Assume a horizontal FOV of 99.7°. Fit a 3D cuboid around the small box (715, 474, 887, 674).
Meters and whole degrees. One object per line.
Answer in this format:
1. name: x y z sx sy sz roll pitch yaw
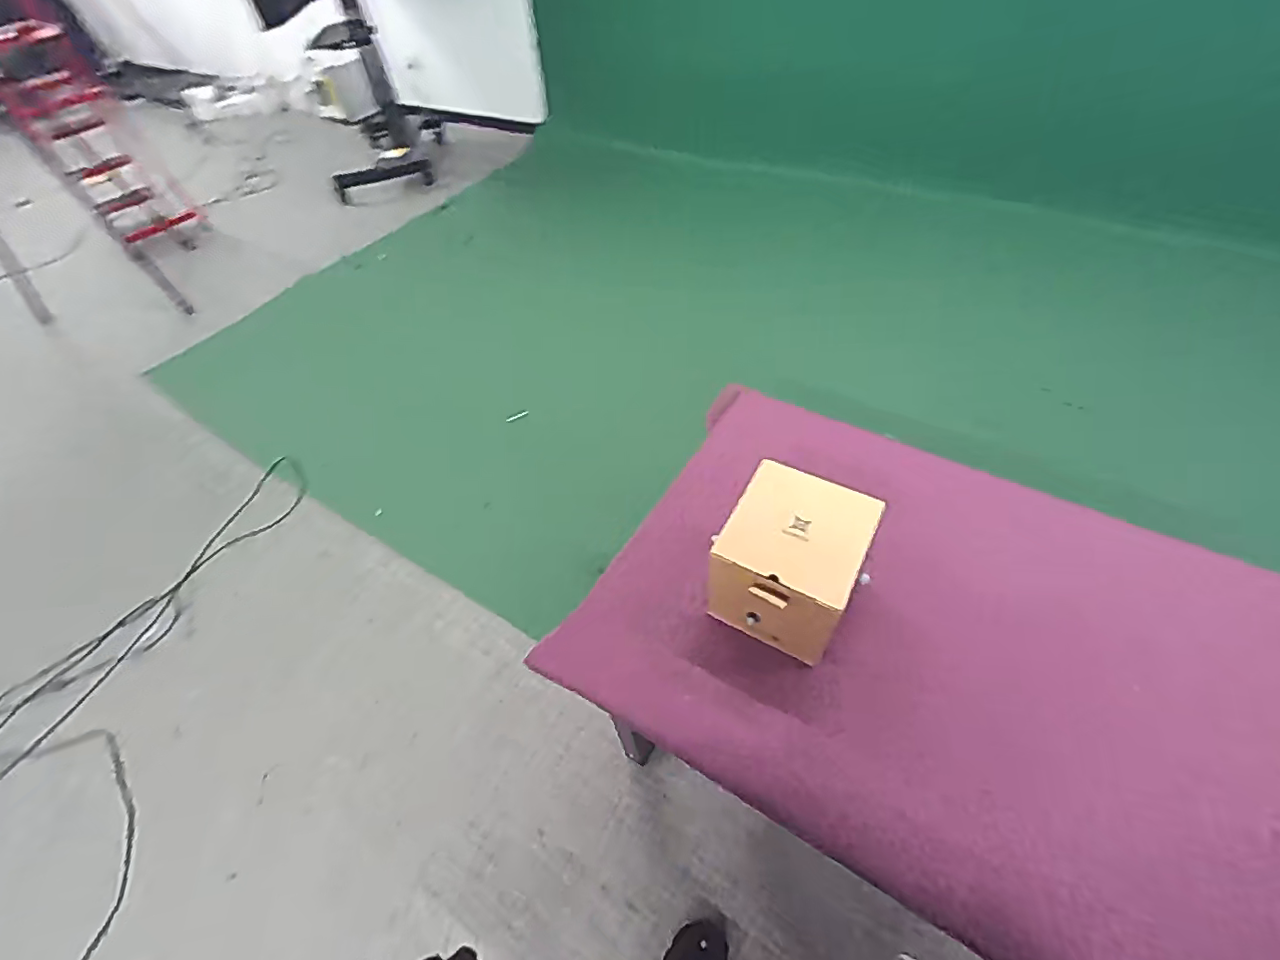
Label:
1. small box: 0.208 0.129 0.739 0.168 0.176 0.179 23 57 22
